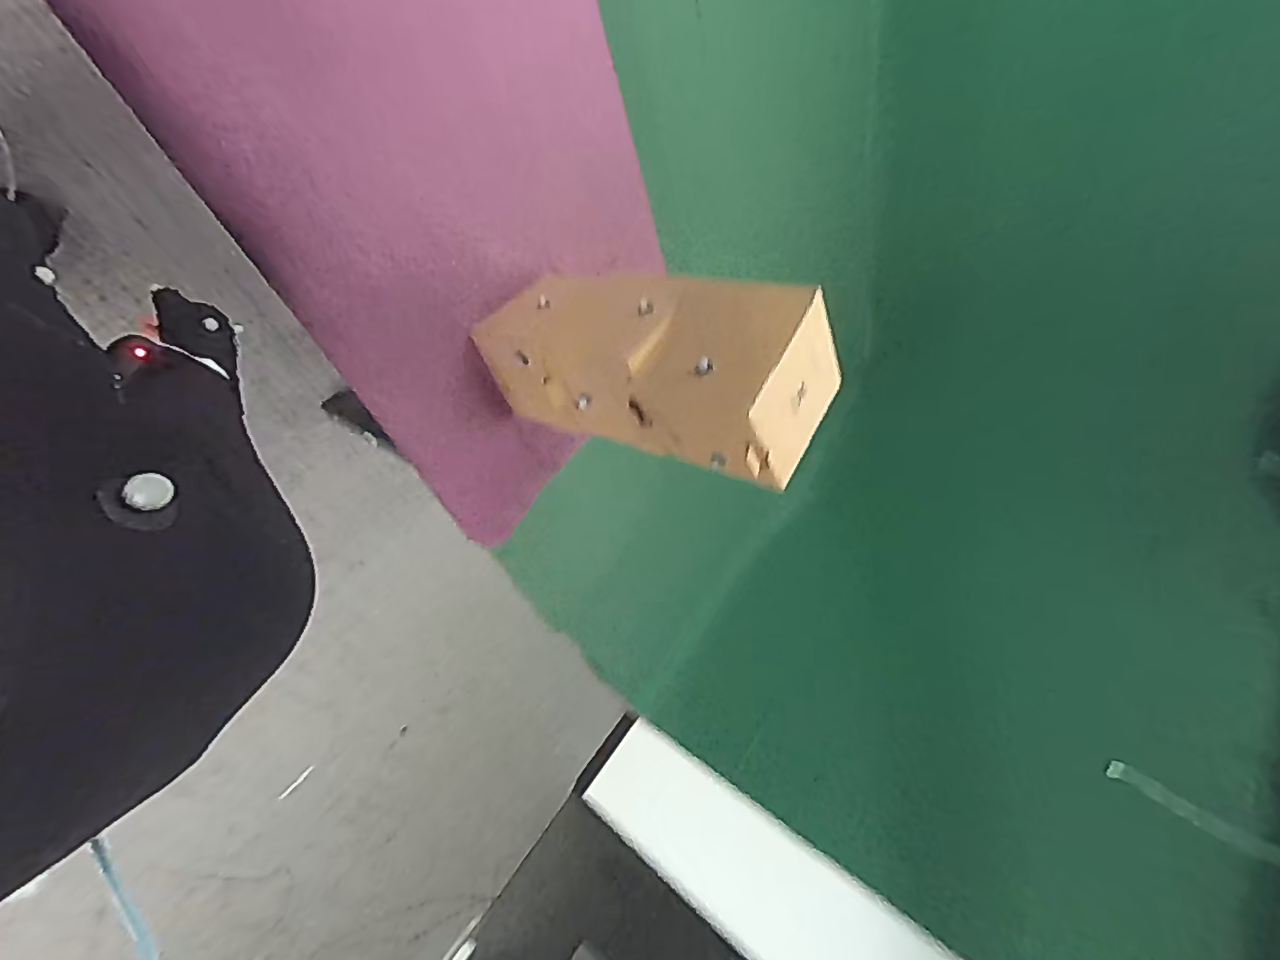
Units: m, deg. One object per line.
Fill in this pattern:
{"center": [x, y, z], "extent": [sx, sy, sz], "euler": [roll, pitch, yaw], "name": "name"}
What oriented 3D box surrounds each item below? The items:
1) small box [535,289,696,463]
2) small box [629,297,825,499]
{"center": [-0.016, -0.157, 0.778], "extent": [0.179, 0.176, 0.168], "euler": [-50, 139, -24], "name": "small box"}
{"center": [0.108, -0.107, 0.685], "extent": [0.179, 0.176, 0.168], "euler": [-58, 142, -16], "name": "small box"}
